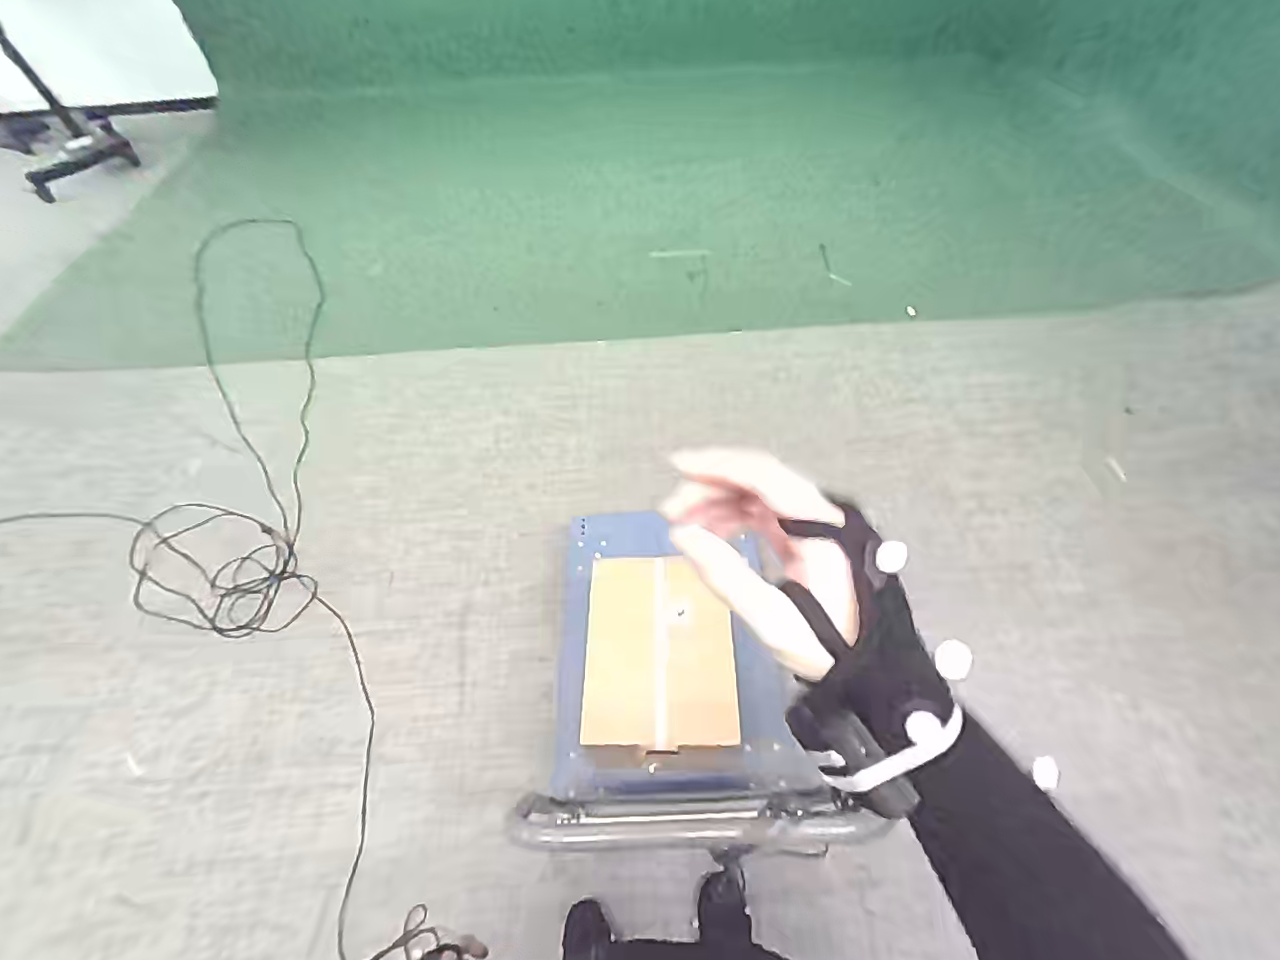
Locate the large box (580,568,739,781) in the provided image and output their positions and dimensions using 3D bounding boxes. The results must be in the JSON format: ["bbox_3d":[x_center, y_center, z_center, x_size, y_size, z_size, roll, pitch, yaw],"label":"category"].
[{"bbox_3d":[0.045,0.459,1.272,0.320,0.320,0.408,0,53,2],"label":"large box"}]
